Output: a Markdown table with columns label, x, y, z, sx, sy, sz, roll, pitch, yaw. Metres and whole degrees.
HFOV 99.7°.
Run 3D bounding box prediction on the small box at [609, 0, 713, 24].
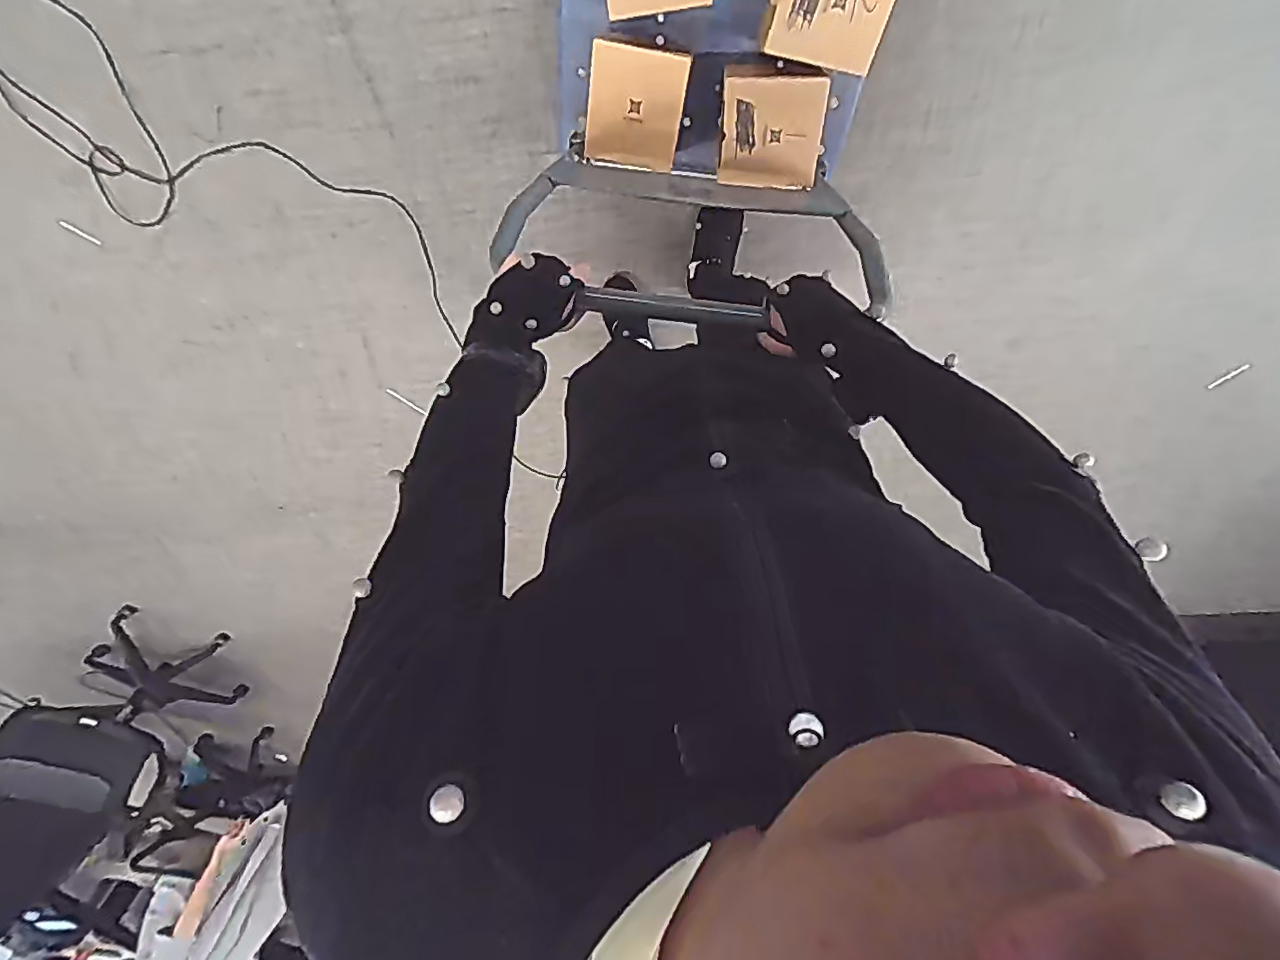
| label | x | y | z | sx | sy | sz | roll | pitch | yaw |
| --- | --- | --- | --- | --- | --- | --- | --- | --- | --- |
| small box | 0.033 | -0.847 | 0.848 | 0.168 | 0.176 | 0.179 | -2 | 133 | 8 |

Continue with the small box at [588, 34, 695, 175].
| label | x | y | z | sx | sy | sz | roll | pitch | yaw |
| --- | --- | --- | --- | --- | --- | --- | --- | --- | --- |
| small box | 0.003 | -0.696 | 0.998 | 0.168 | 0.176 | 0.179 | 10 | 134 | -2 |
